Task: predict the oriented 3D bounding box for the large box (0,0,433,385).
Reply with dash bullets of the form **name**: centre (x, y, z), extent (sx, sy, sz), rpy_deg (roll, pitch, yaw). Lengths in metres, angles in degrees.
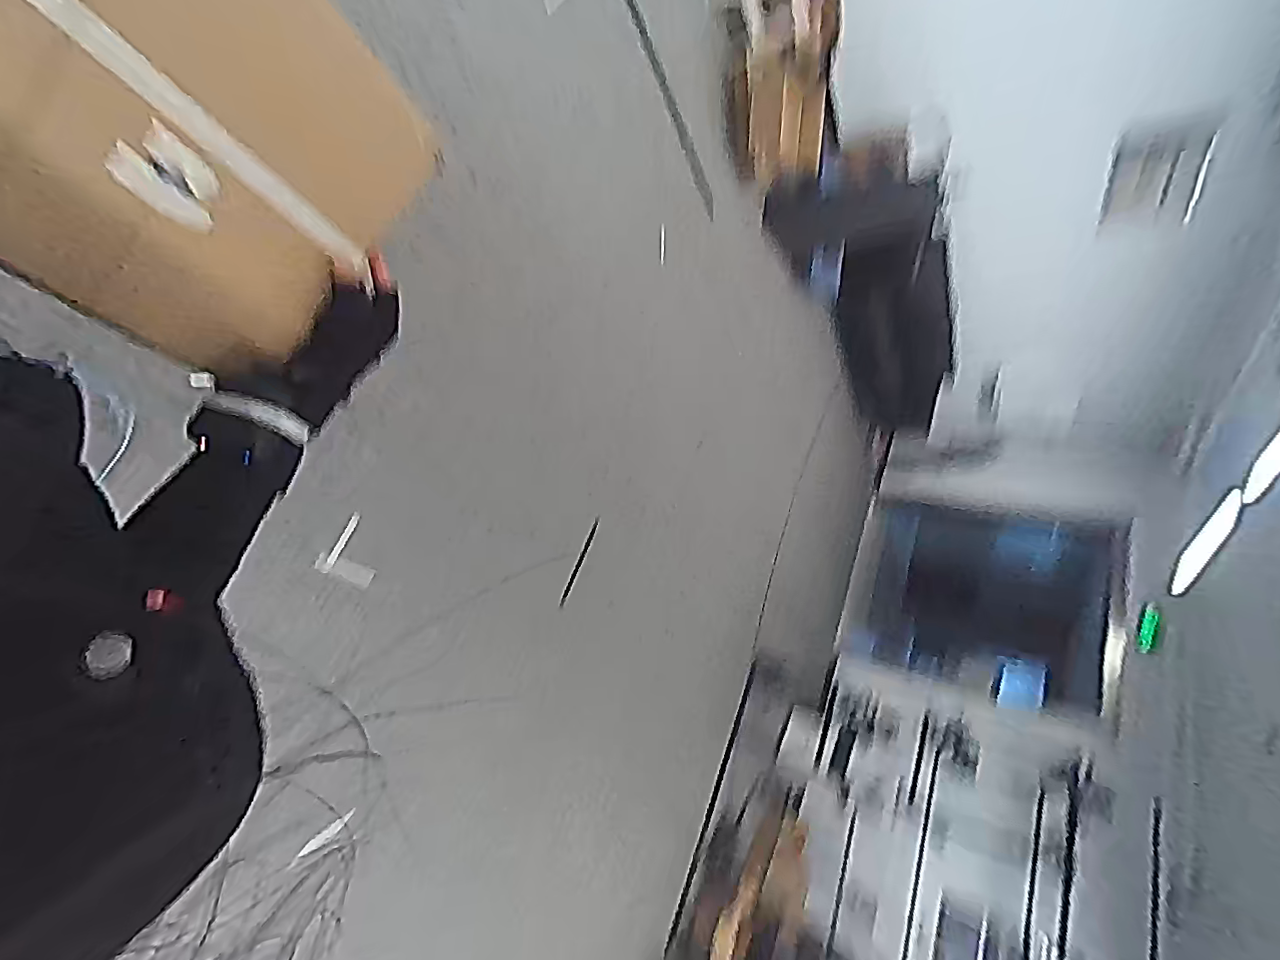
- **large box**: centre (-0.481, -0.336, 0.449), extent (0.320, 0.320, 0.408), rpy_deg (-62, 145, -12)
